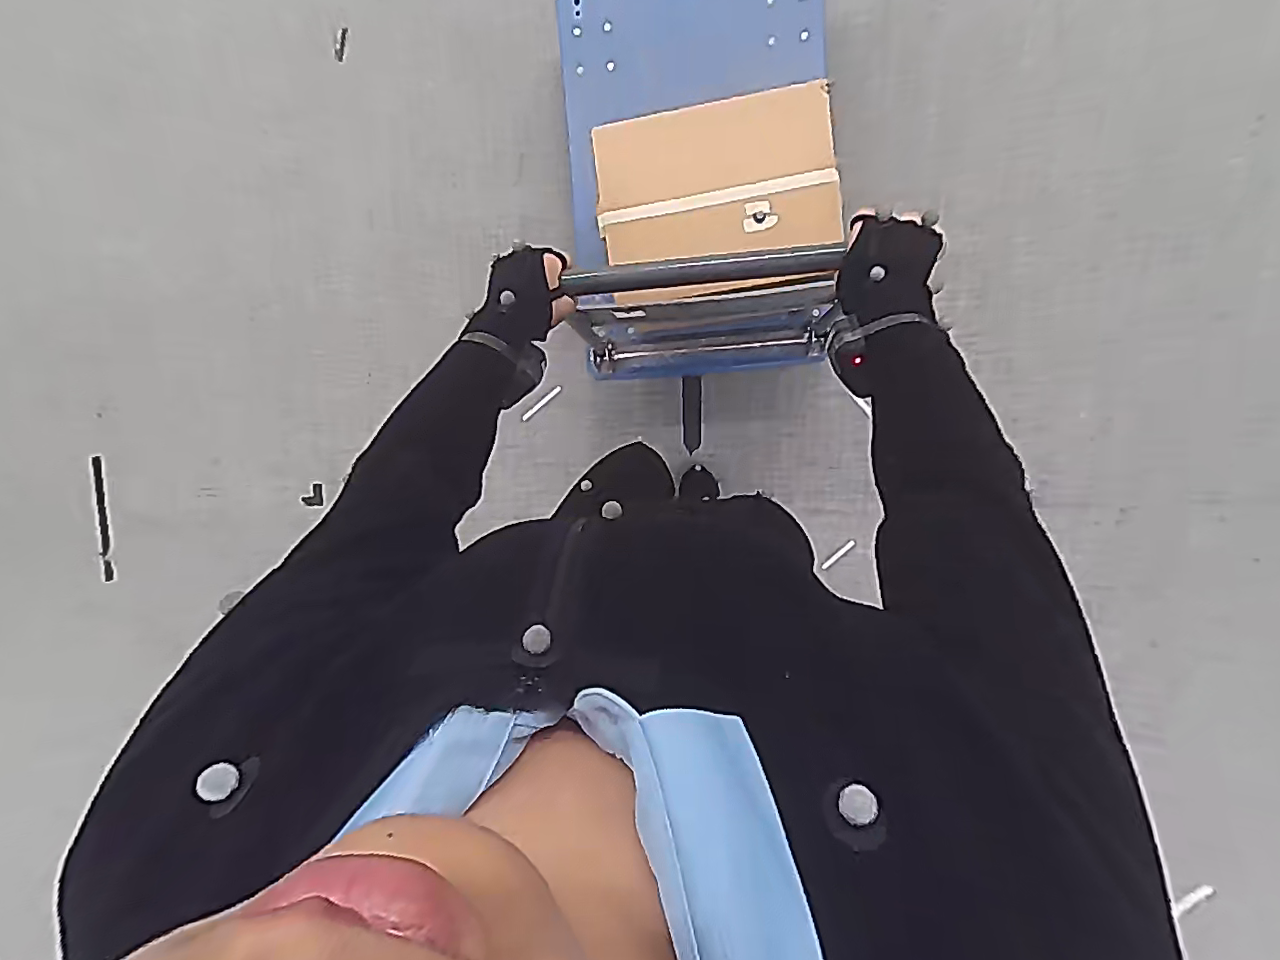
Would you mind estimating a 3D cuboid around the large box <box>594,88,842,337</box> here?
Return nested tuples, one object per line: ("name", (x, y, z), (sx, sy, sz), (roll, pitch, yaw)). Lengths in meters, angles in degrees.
("large box", (0.146, -0.498, 1.091), (0.408, 0.320, 0.320), (-8, 96, 6))
